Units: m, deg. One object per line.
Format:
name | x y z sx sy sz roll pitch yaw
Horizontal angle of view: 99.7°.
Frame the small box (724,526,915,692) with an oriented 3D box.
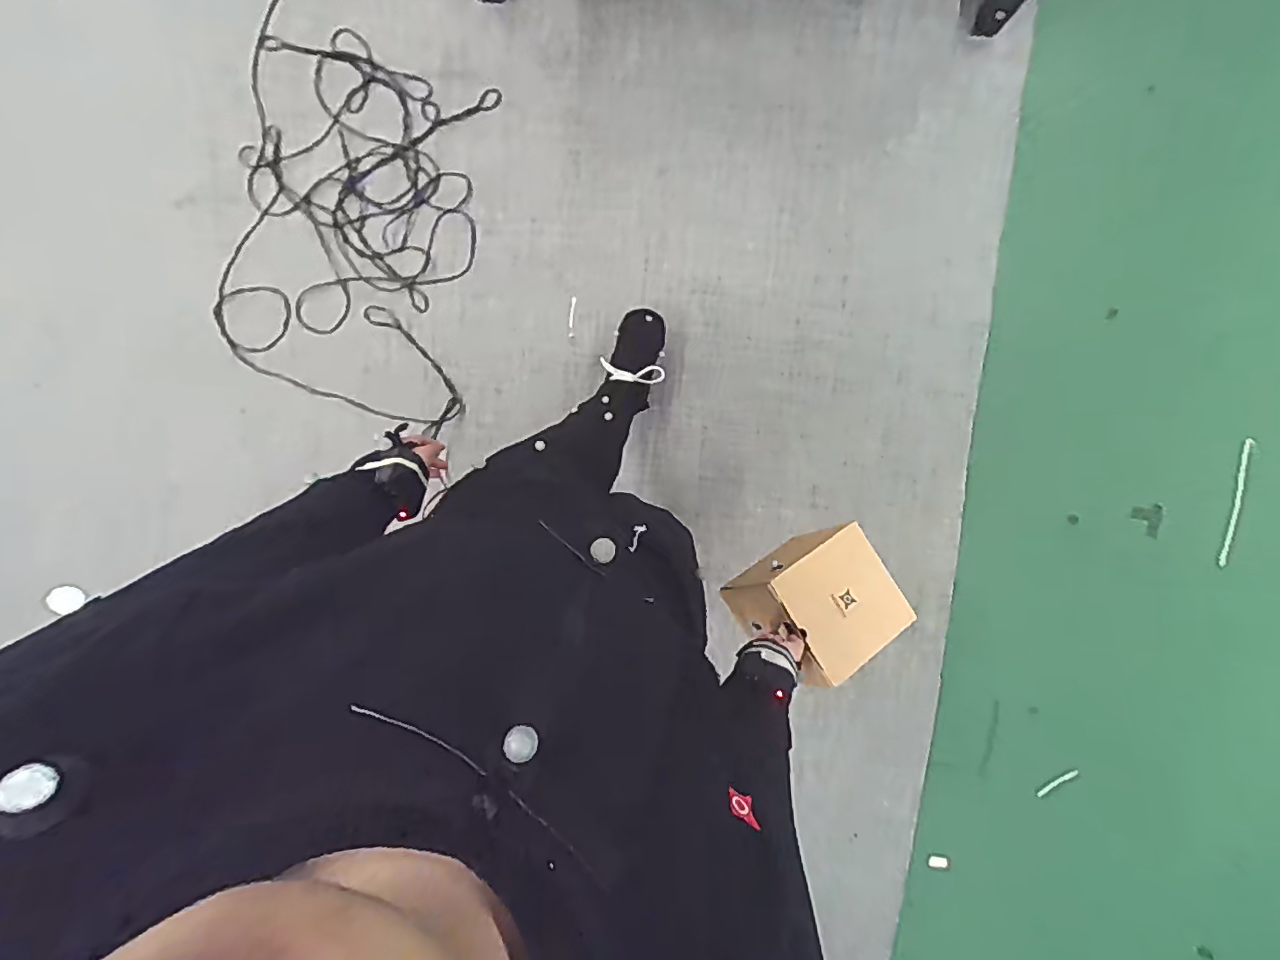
small box | 0.259 0.189 0.813 0.179 0.176 0.168 -29 85 -21
